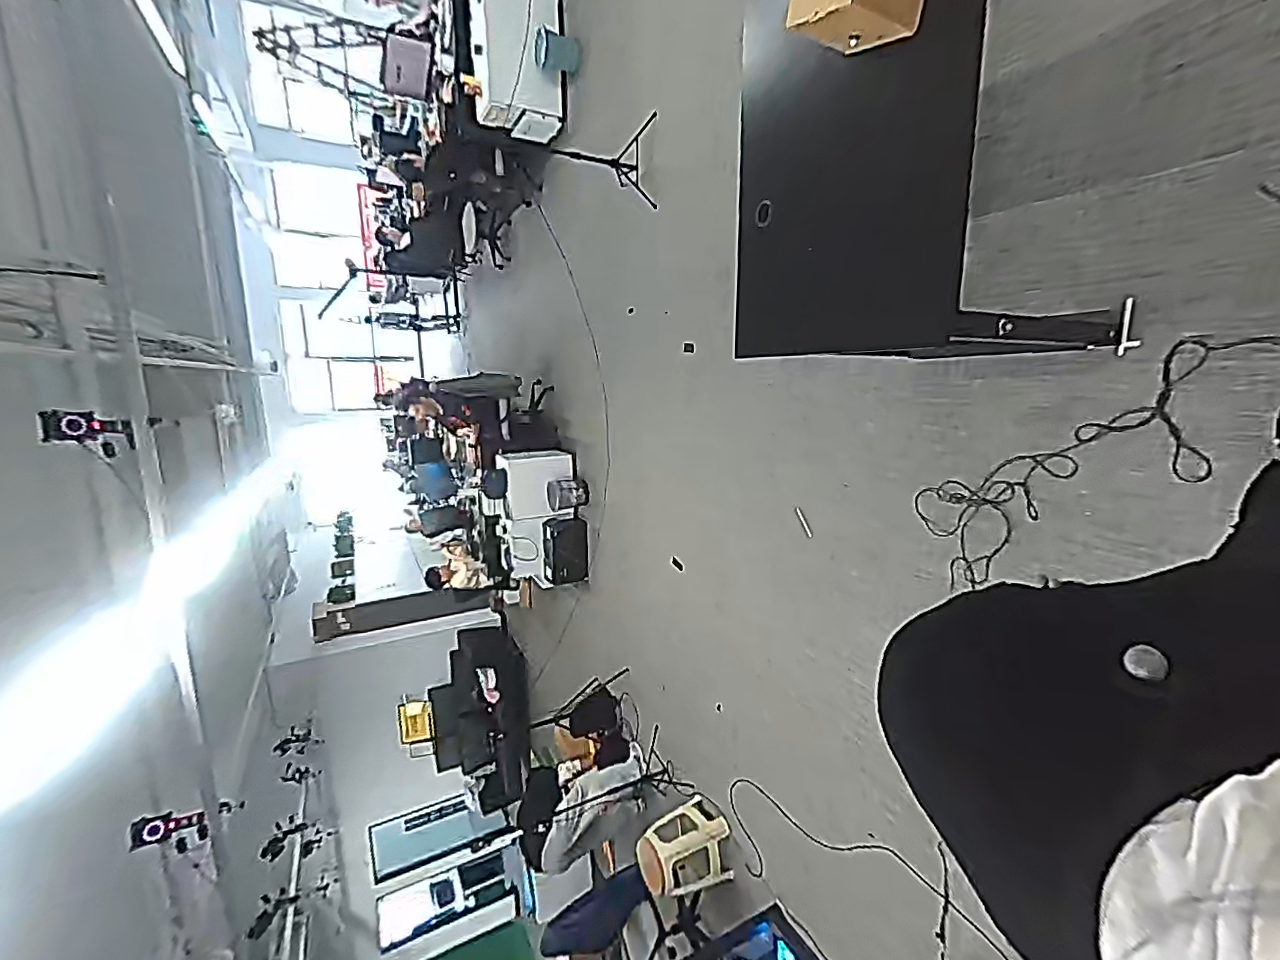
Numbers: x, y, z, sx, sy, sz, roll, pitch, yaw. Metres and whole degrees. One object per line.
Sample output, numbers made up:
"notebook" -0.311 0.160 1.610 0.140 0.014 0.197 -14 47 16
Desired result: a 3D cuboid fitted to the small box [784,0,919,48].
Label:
"small box" 0.387 -0.906 0.954 0.168 0.176 0.179 41 132 54
